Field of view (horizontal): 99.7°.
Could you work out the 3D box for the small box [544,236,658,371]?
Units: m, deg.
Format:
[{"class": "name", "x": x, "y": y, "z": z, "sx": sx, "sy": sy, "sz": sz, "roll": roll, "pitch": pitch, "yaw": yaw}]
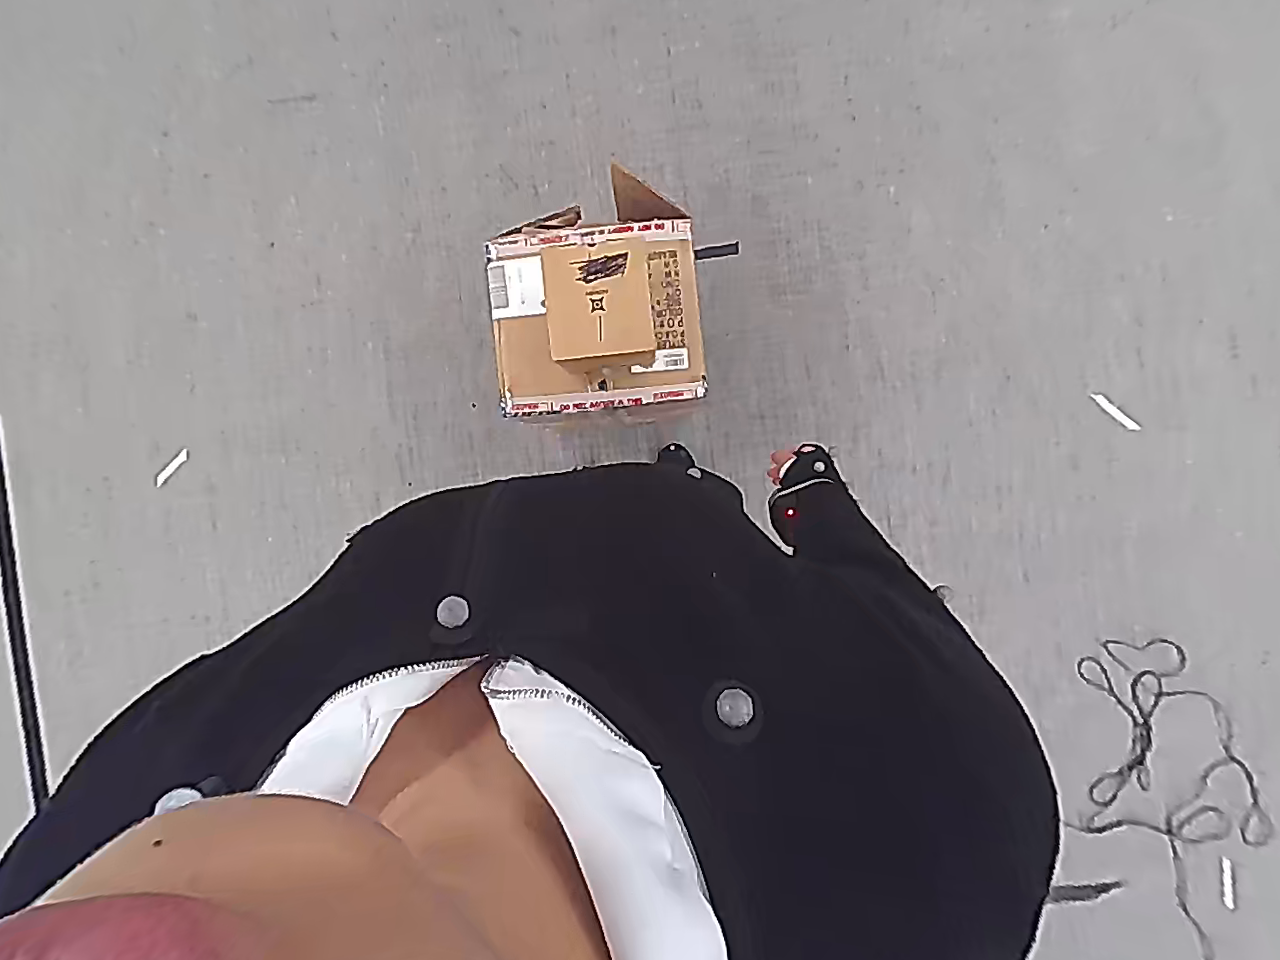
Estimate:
[{"class": "small box", "x": -0.060, "y": -0.290, "z": 0.920, "sx": 0.168, "sy": 0.176, "sz": 0.179, "roll": -6, "pitch": 95, "yaw": 2}]
